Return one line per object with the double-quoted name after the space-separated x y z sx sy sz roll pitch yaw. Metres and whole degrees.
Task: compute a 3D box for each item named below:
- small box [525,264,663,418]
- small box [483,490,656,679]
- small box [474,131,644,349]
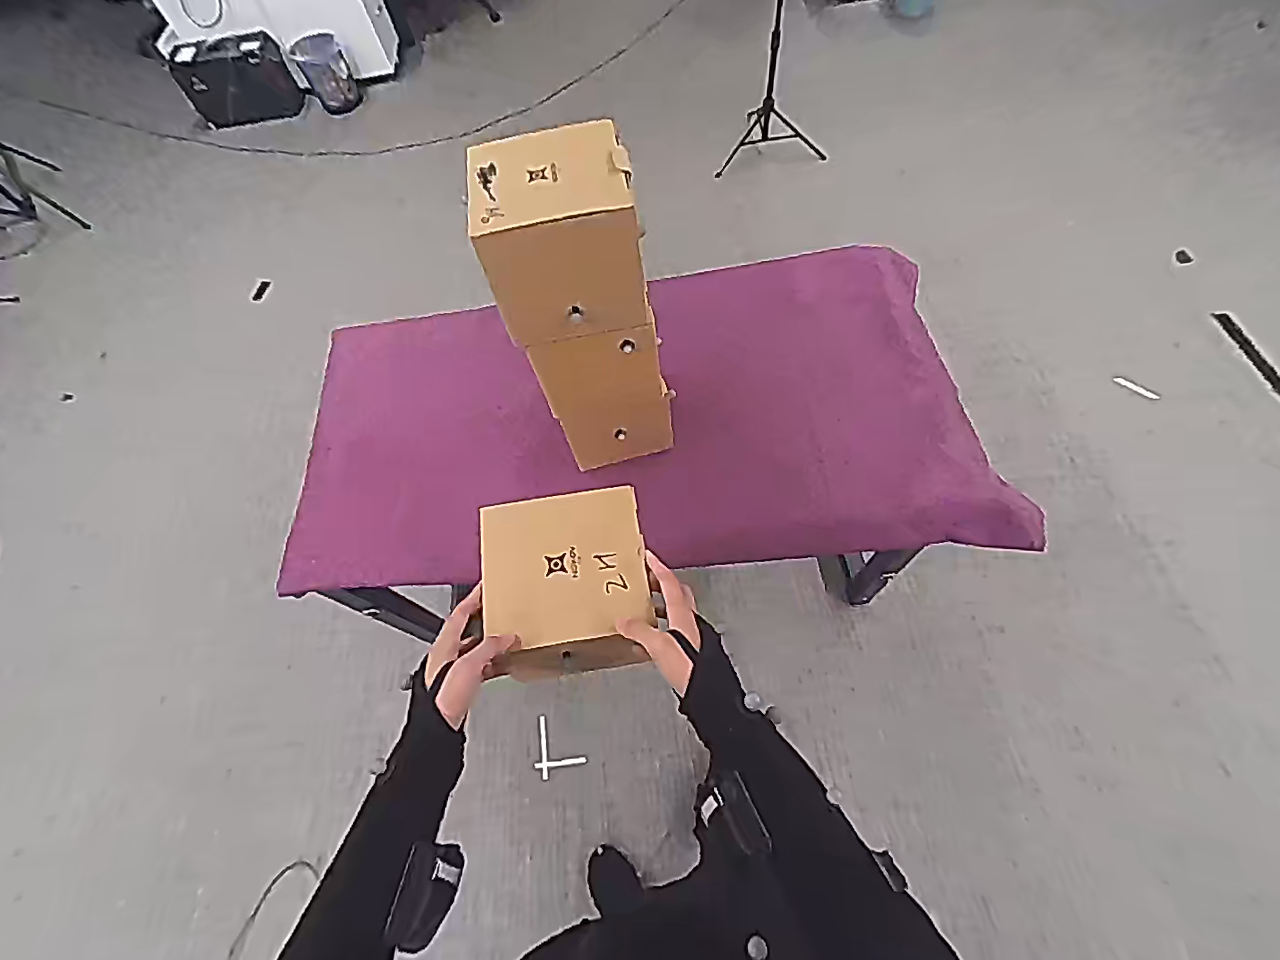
-0.067 -0.211 0.807 0.179 0.176 0.168 -10 61 1 "small box"
-0.078 0.131 0.643 0.179 0.176 0.168 -7 62 -5 "small box"
-0.091 -0.285 0.662 0.179 0.176 0.168 -10 60 0 "small box"
